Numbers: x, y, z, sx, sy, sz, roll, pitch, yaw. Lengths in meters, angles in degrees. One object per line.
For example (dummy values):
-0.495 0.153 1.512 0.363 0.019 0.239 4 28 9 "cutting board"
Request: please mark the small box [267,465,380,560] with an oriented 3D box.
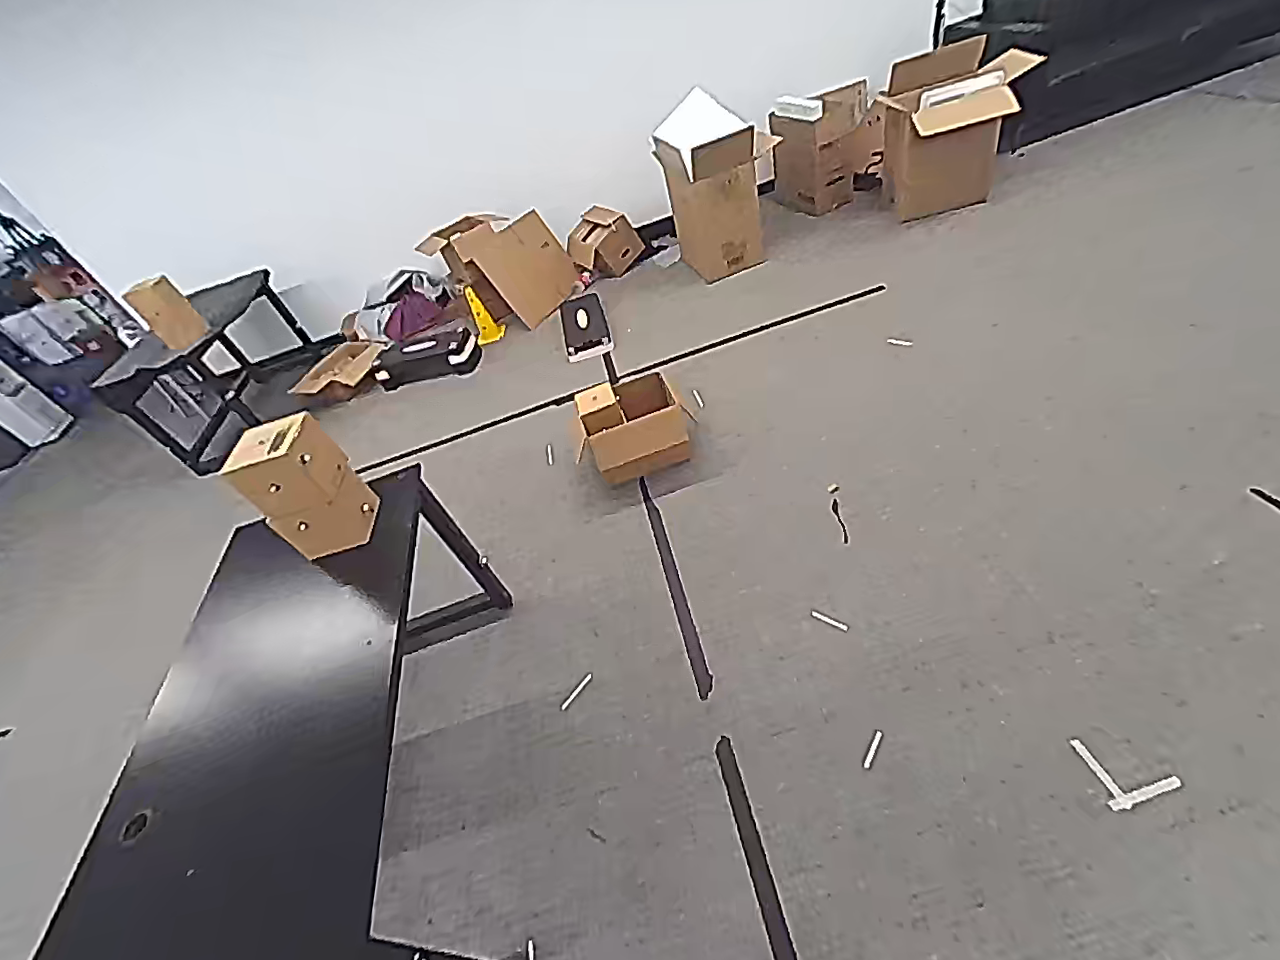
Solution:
-0.841 0.092 1.454 0.179 0.176 0.168 -16 44 5 "small box"
